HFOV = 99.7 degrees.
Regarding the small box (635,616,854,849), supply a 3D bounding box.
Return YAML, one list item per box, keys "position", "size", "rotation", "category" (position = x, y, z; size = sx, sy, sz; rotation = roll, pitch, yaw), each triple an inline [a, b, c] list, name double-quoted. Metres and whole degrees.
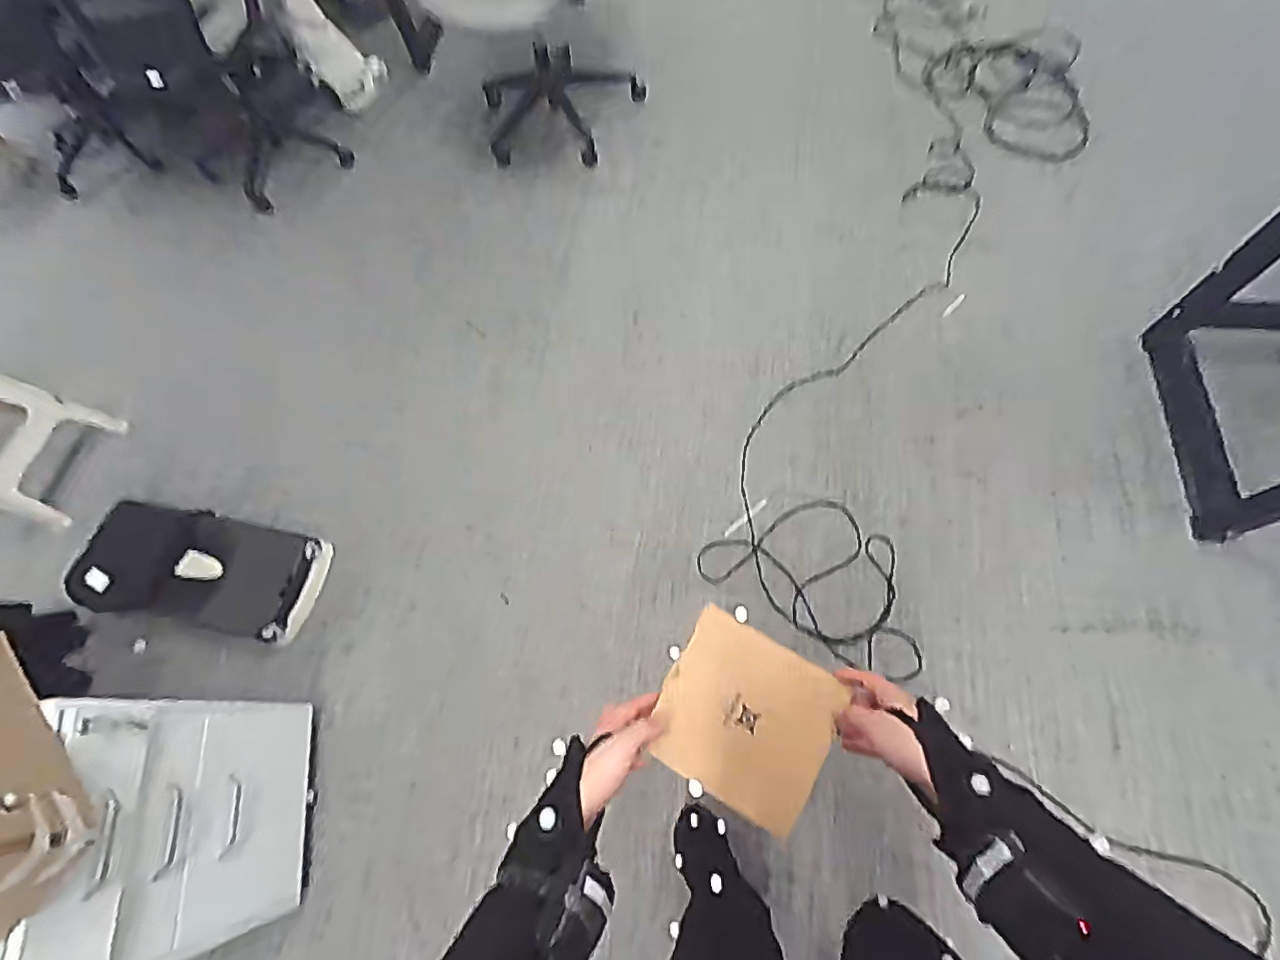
- position: [0.117, 0.276, 0.636]
  size: [0.179, 0.176, 0.168]
  rotation: [27, 78, 14]
  category: "small box"
